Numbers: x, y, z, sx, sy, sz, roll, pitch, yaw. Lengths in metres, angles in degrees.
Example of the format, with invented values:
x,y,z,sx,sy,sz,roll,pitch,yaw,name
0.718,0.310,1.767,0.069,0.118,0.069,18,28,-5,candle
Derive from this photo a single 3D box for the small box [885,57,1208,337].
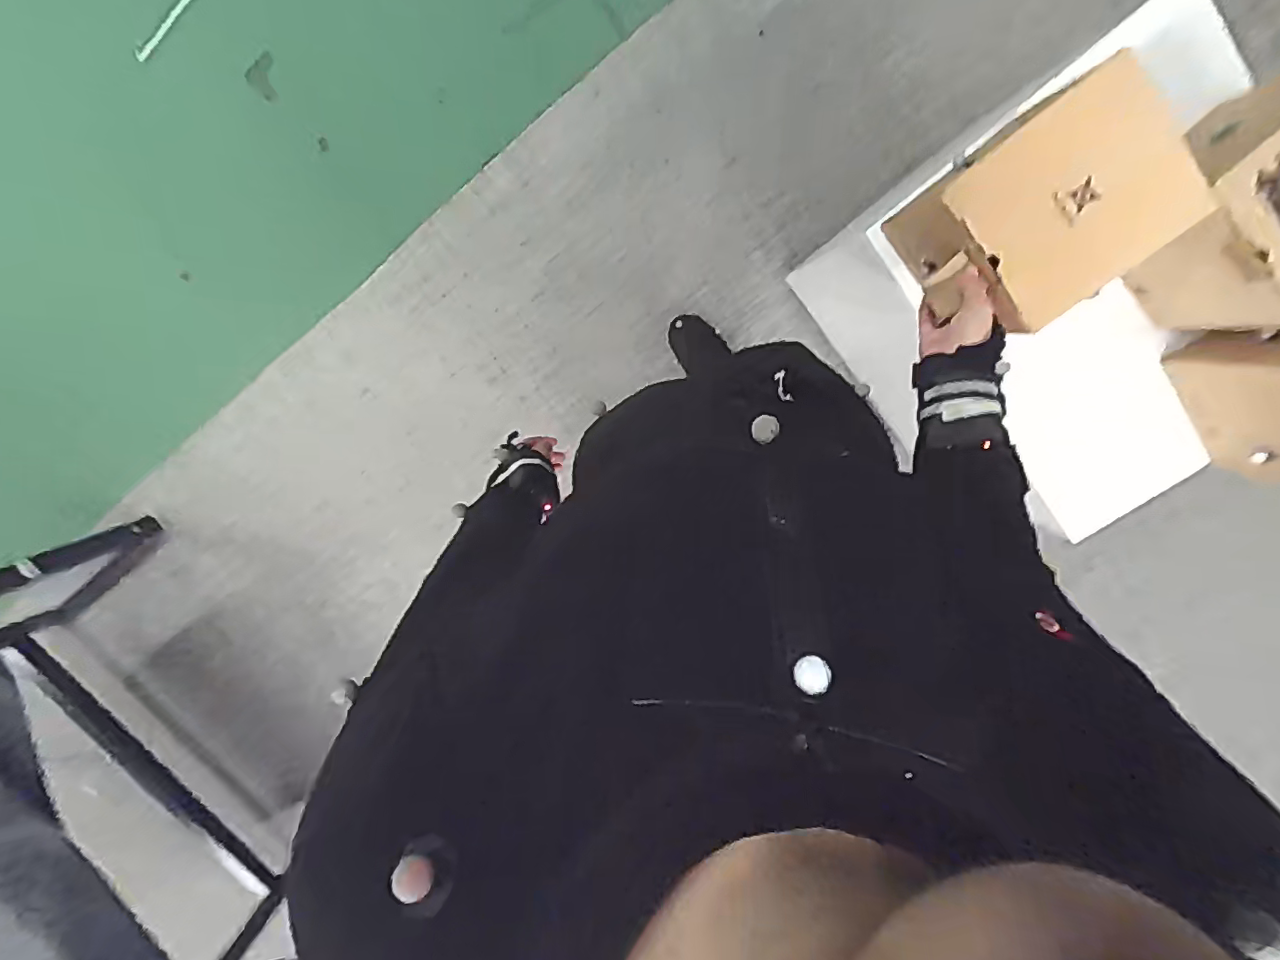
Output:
x,y,z,sx,sy,sz,roll,pitch,yaw,name
0.397,-0.269,0.563,0.179,0.176,0.168,-37,99,12,small box

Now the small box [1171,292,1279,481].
x,y,z,sx,sy,sz,roll,pitch,yaw,name
0.740,-0.104,0.582,0.179,0.176,0.168,-34,101,12,small box
